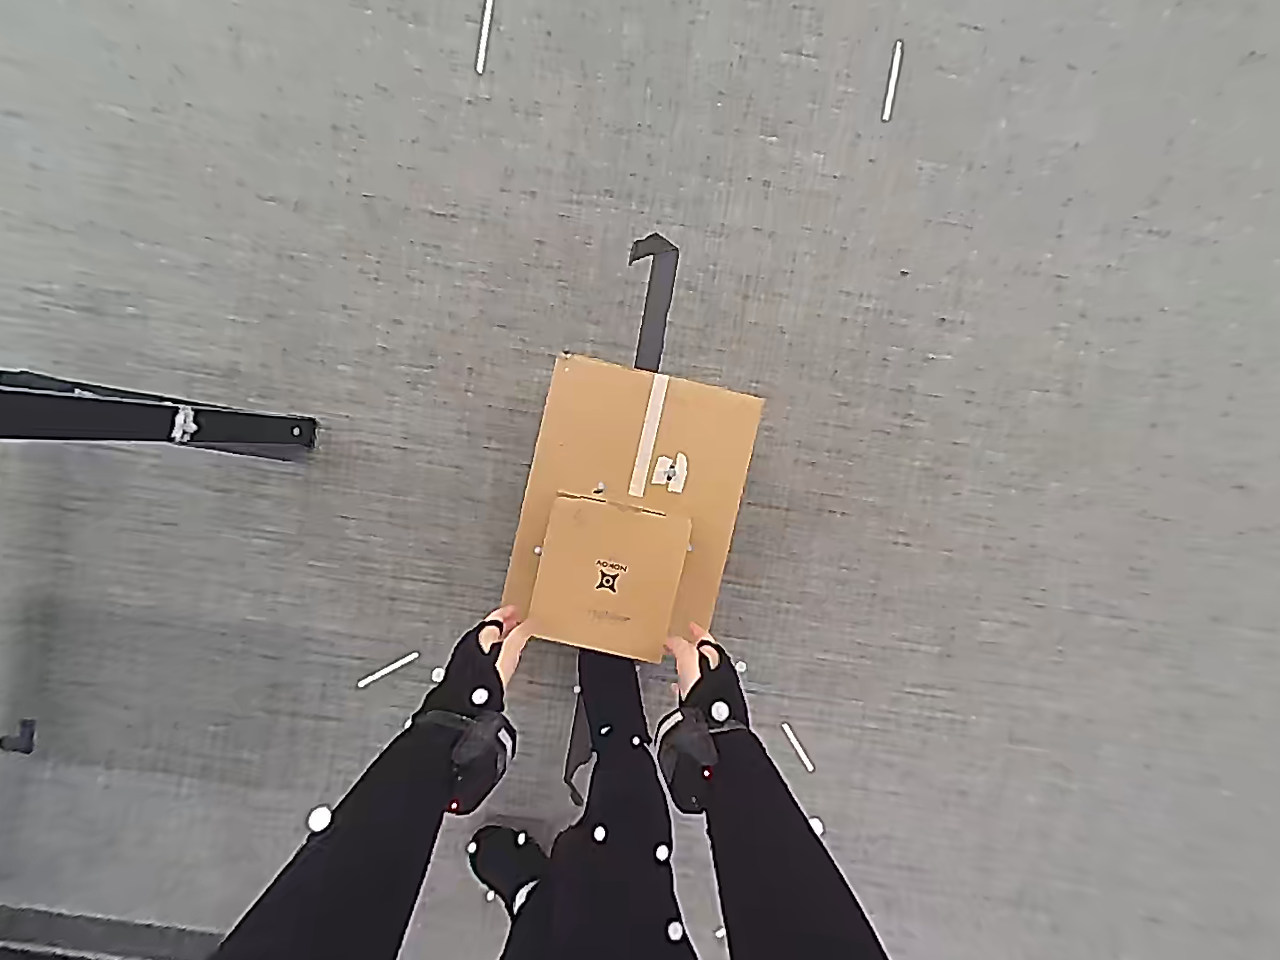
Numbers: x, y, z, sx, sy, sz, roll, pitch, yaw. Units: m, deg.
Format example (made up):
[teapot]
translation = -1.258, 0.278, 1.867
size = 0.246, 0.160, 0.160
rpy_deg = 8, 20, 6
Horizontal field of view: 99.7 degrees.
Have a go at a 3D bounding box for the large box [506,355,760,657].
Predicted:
[large box]
translation = -0.014, 0.040, 0.944
size = 0.320, 0.320, 0.408
rpy_deg = 13, 91, -2

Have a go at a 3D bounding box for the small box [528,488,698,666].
[small box]
translation = -0.032, 0.111, 0.701
size = 0.168, 0.176, 0.179
rpy_deg = 13, 92, 0
